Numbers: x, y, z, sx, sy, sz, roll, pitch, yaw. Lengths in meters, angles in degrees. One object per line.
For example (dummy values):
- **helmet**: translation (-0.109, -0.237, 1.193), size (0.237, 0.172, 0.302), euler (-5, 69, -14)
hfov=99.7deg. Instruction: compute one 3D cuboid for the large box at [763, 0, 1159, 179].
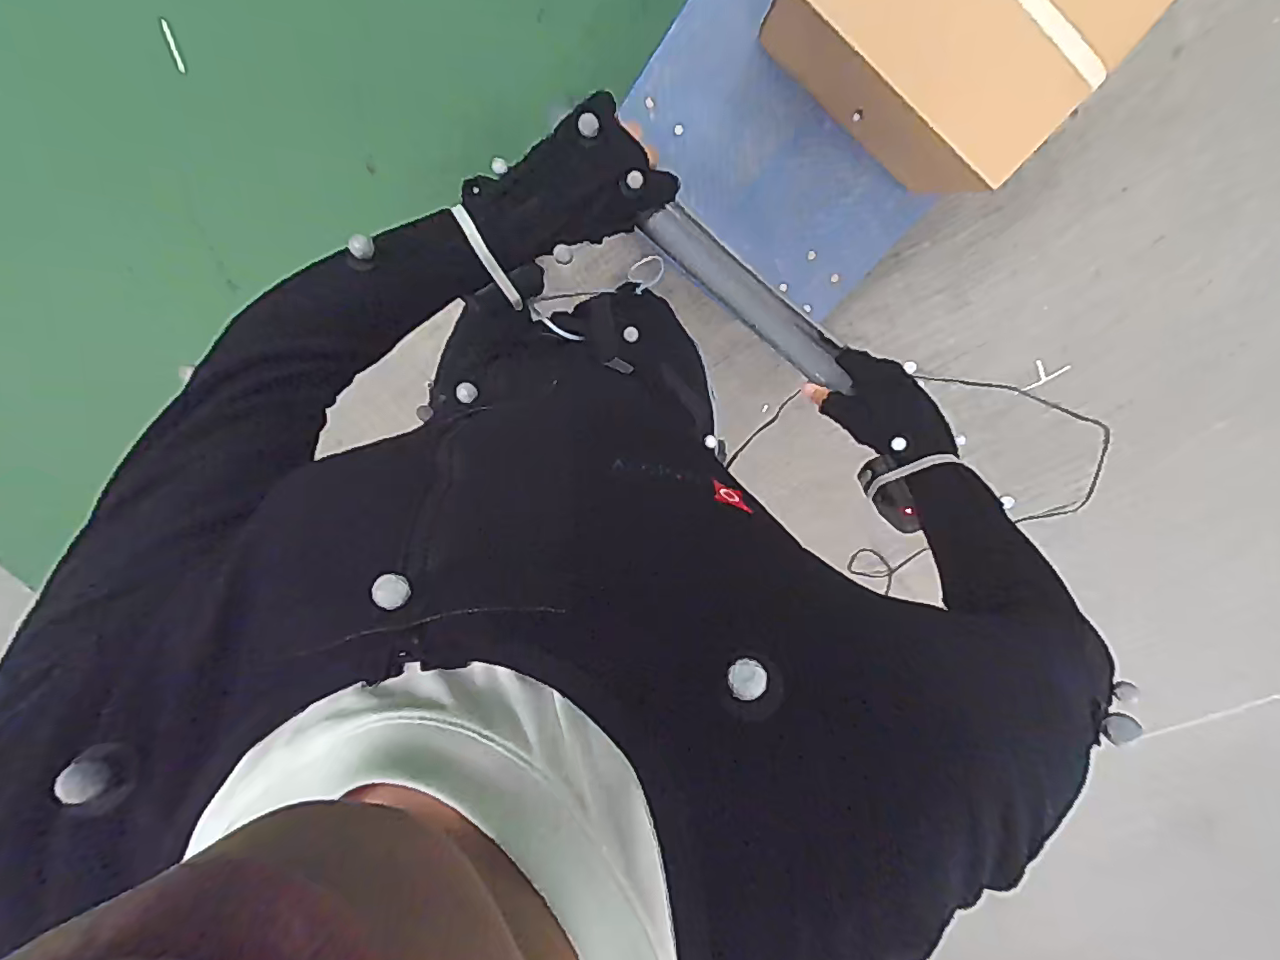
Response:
- **large box**: translation (0.448, -0.712, 0.800), size (0.408, 0.320, 0.320), euler (34, 115, -13)
